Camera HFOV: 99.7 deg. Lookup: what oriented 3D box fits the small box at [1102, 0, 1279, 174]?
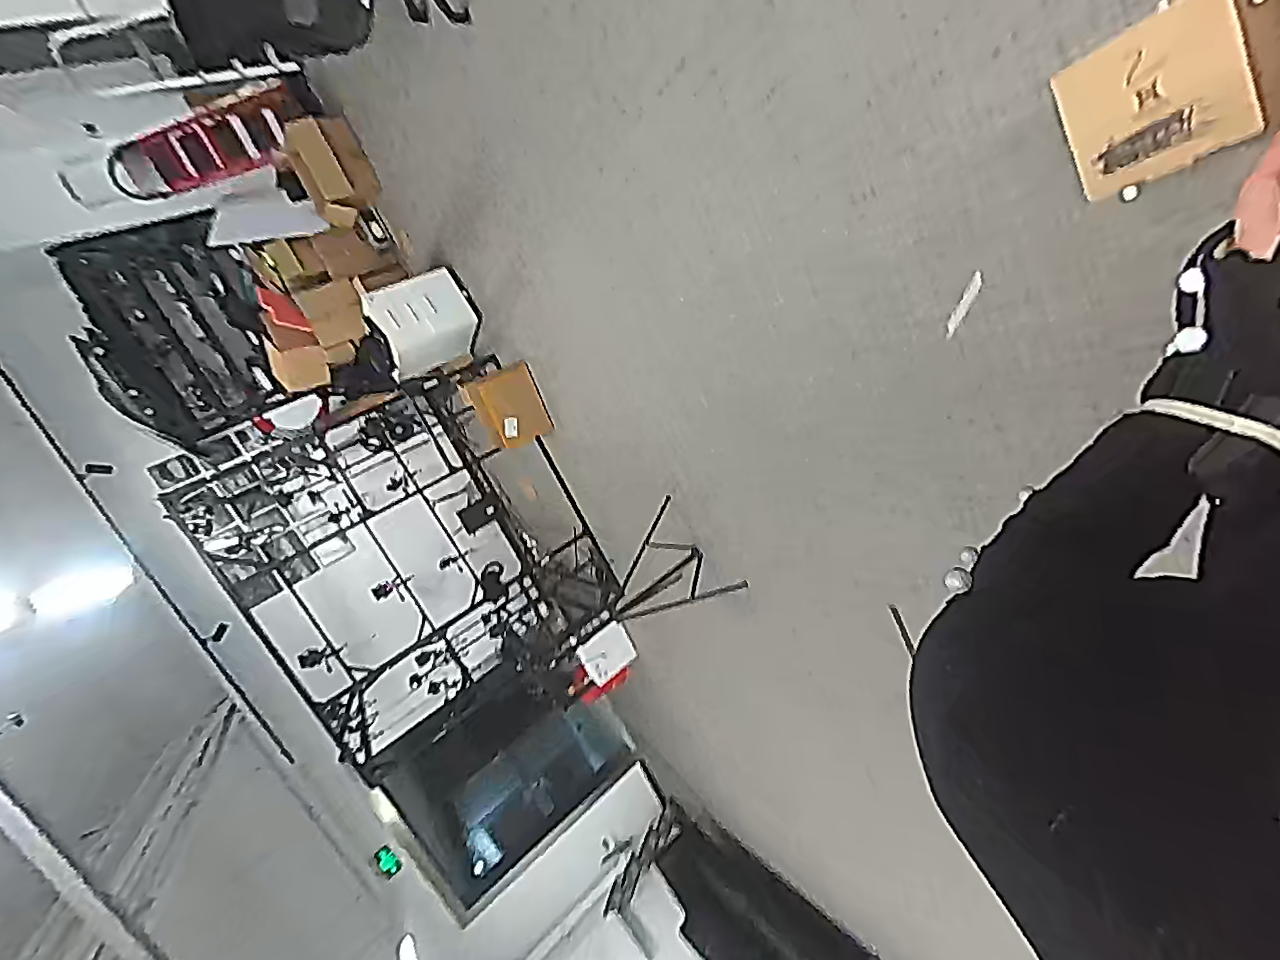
[{"bbox_3d":[0.801,-0.572,0.752,0.179,0.176,0.168,60,155,-6],"label":"small box"}]
